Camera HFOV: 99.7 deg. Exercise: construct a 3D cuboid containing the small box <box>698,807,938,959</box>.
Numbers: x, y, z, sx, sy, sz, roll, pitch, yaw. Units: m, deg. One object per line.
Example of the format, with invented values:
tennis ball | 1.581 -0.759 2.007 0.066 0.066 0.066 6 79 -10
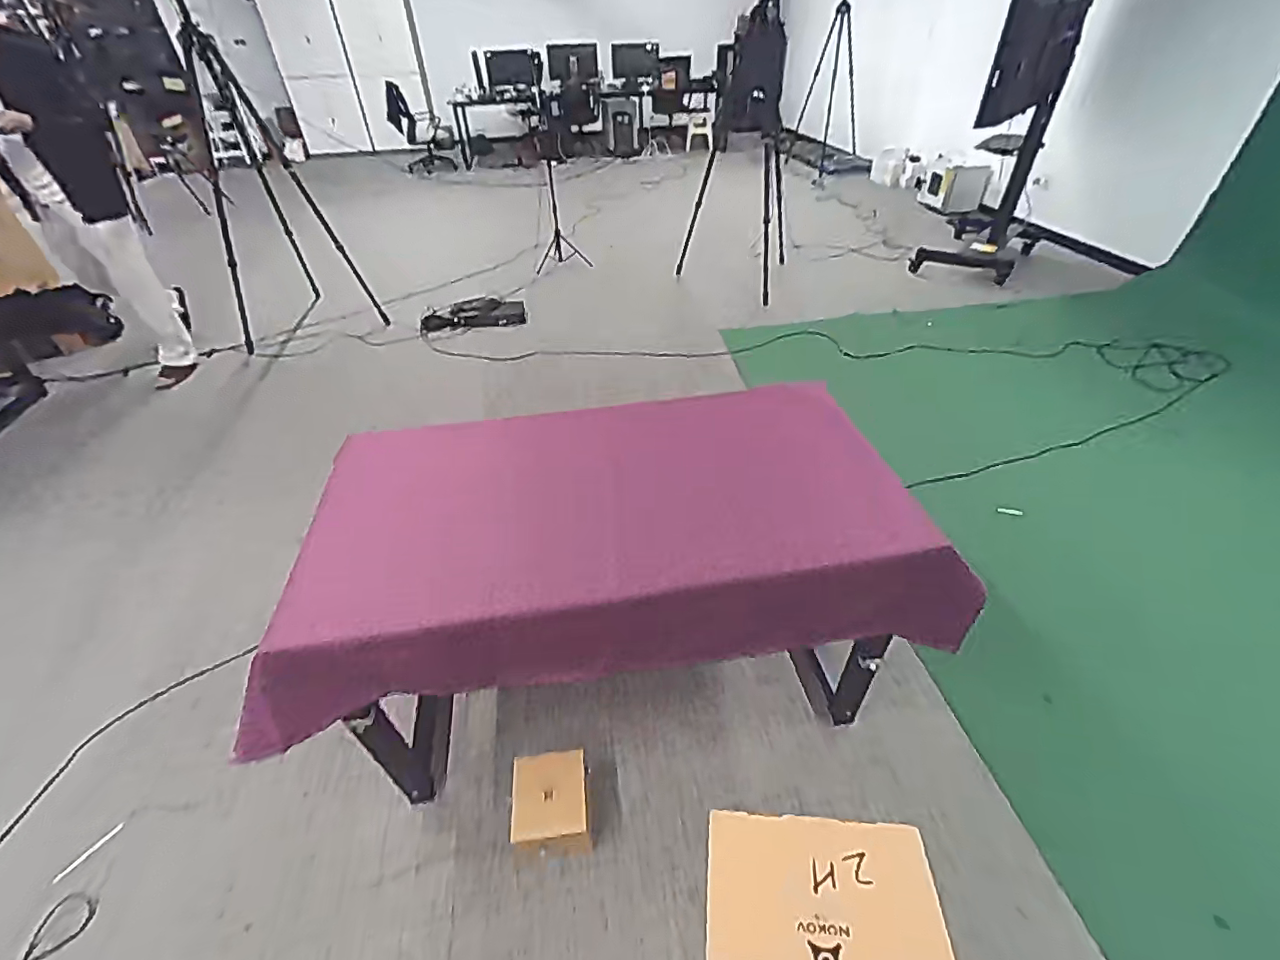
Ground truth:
small box | 0.133 0.397 0.425 0.168 0.176 0.179 -1 32 11
